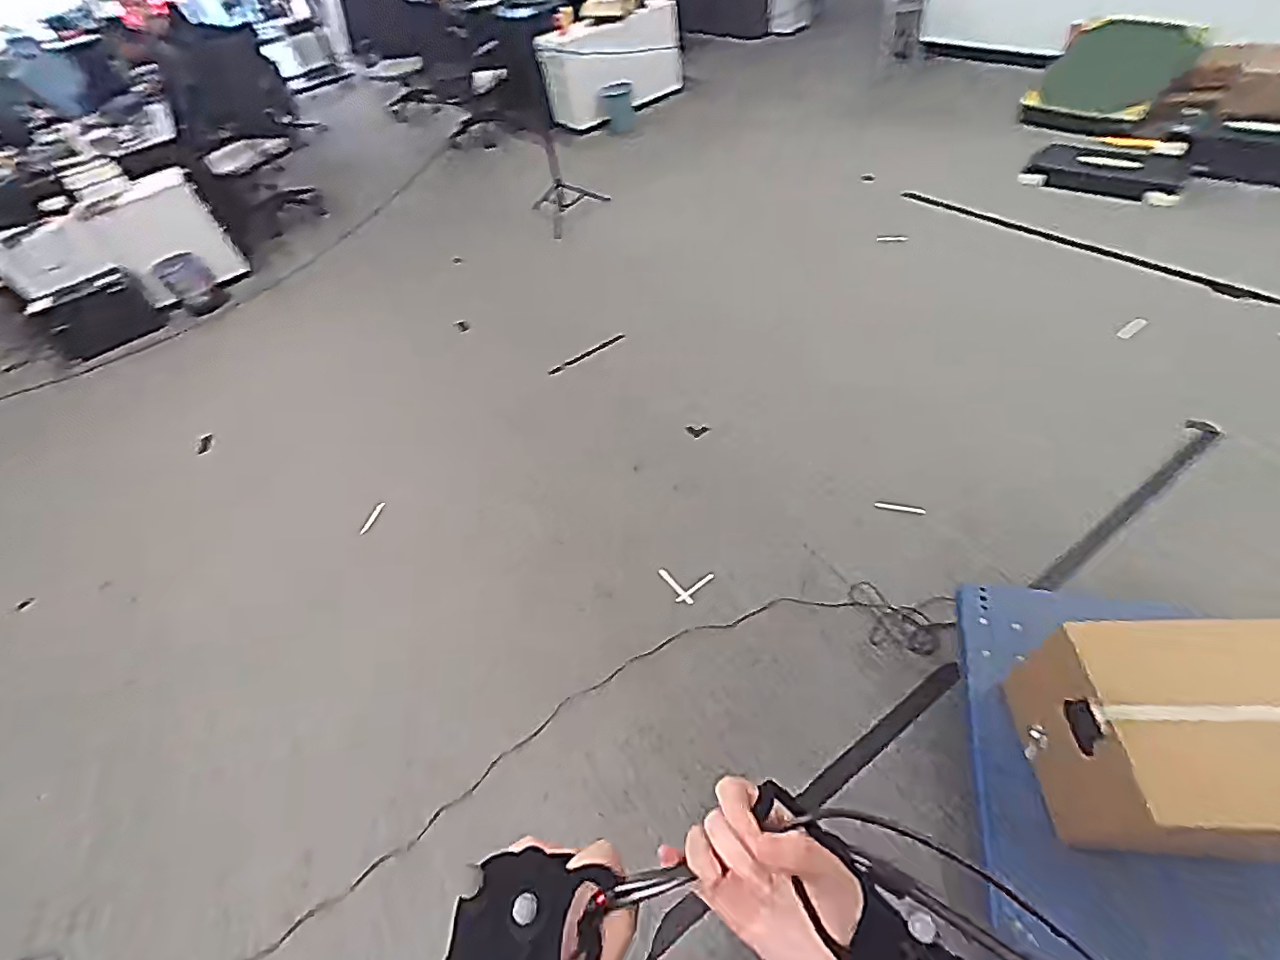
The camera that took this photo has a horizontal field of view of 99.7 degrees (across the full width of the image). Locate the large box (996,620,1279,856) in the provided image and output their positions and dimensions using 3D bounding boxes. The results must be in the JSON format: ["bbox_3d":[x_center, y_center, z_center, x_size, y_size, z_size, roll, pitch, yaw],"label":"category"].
[{"bbox_3d":[0.947,0.459,0.954,0.408,0.320,0.320,-3,51,8],"label":"large box"}]
